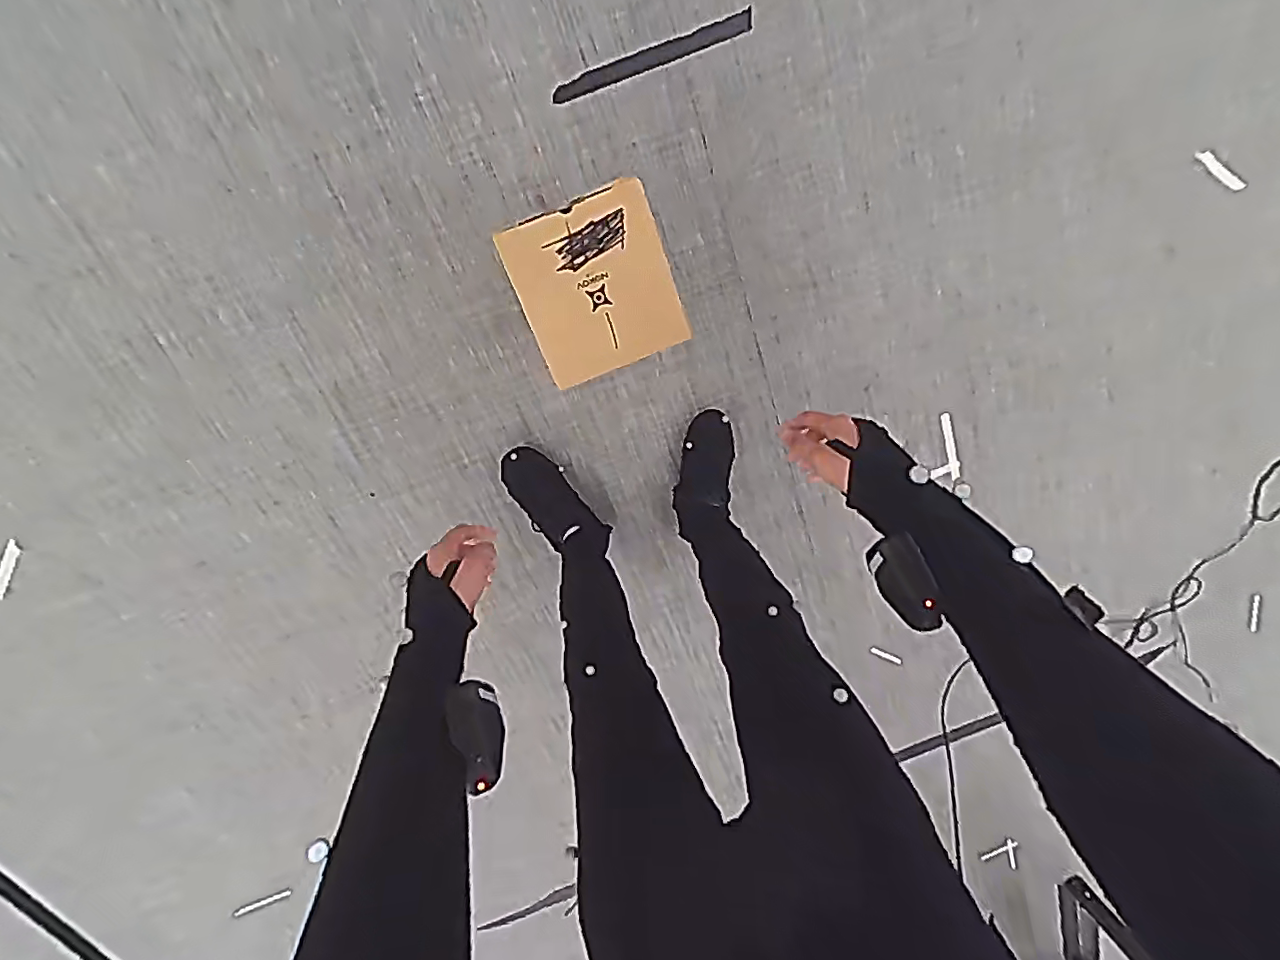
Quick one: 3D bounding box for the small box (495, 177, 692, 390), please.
[{"bbox_3d":[-0.056,-0.230,0.650,0.168,0.176,0.179,-22,112,0],"label":"small box"}]
